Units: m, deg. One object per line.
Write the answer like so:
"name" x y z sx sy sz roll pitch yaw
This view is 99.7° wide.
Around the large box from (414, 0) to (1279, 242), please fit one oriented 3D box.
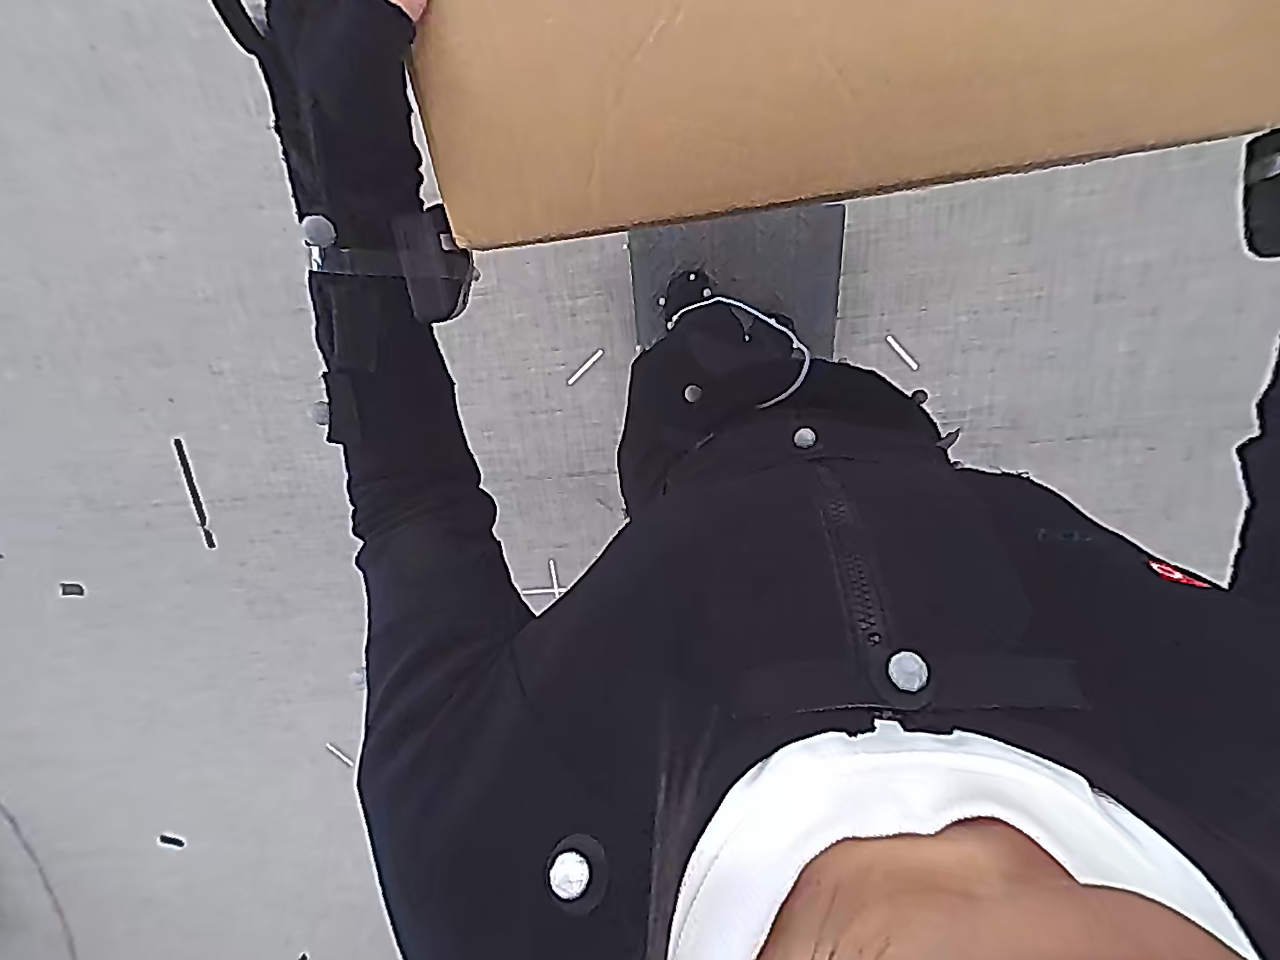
"large box" 0.090 -0.357 0.351 0.408 0.320 0.320 -5 116 9
